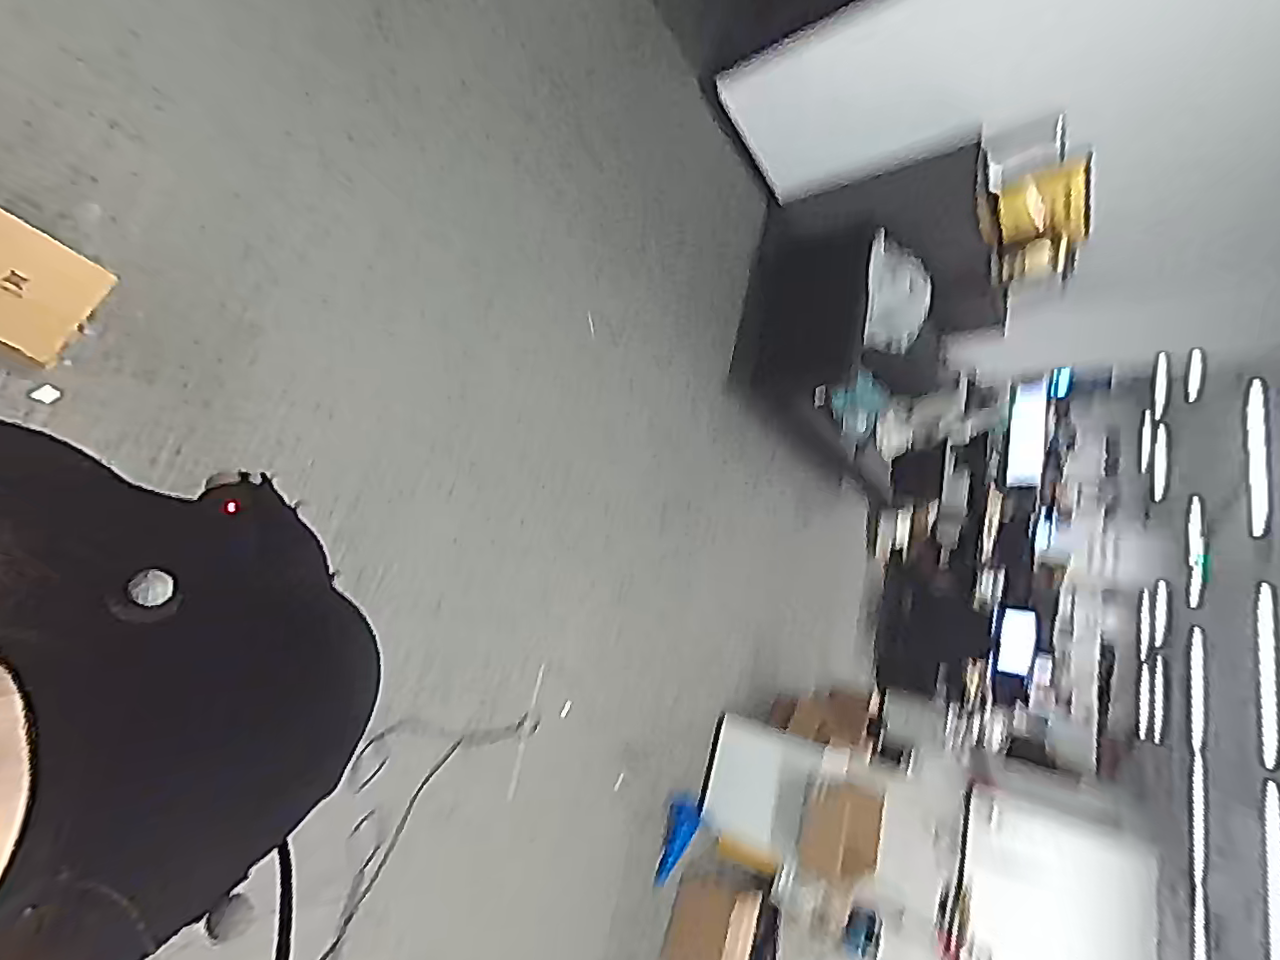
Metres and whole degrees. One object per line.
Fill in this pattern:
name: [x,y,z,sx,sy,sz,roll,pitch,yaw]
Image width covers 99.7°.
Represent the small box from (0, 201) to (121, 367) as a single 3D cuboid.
small box: [-0.973,-0.297,0.841,0.168,0.176,0.179,40,63,-44]
